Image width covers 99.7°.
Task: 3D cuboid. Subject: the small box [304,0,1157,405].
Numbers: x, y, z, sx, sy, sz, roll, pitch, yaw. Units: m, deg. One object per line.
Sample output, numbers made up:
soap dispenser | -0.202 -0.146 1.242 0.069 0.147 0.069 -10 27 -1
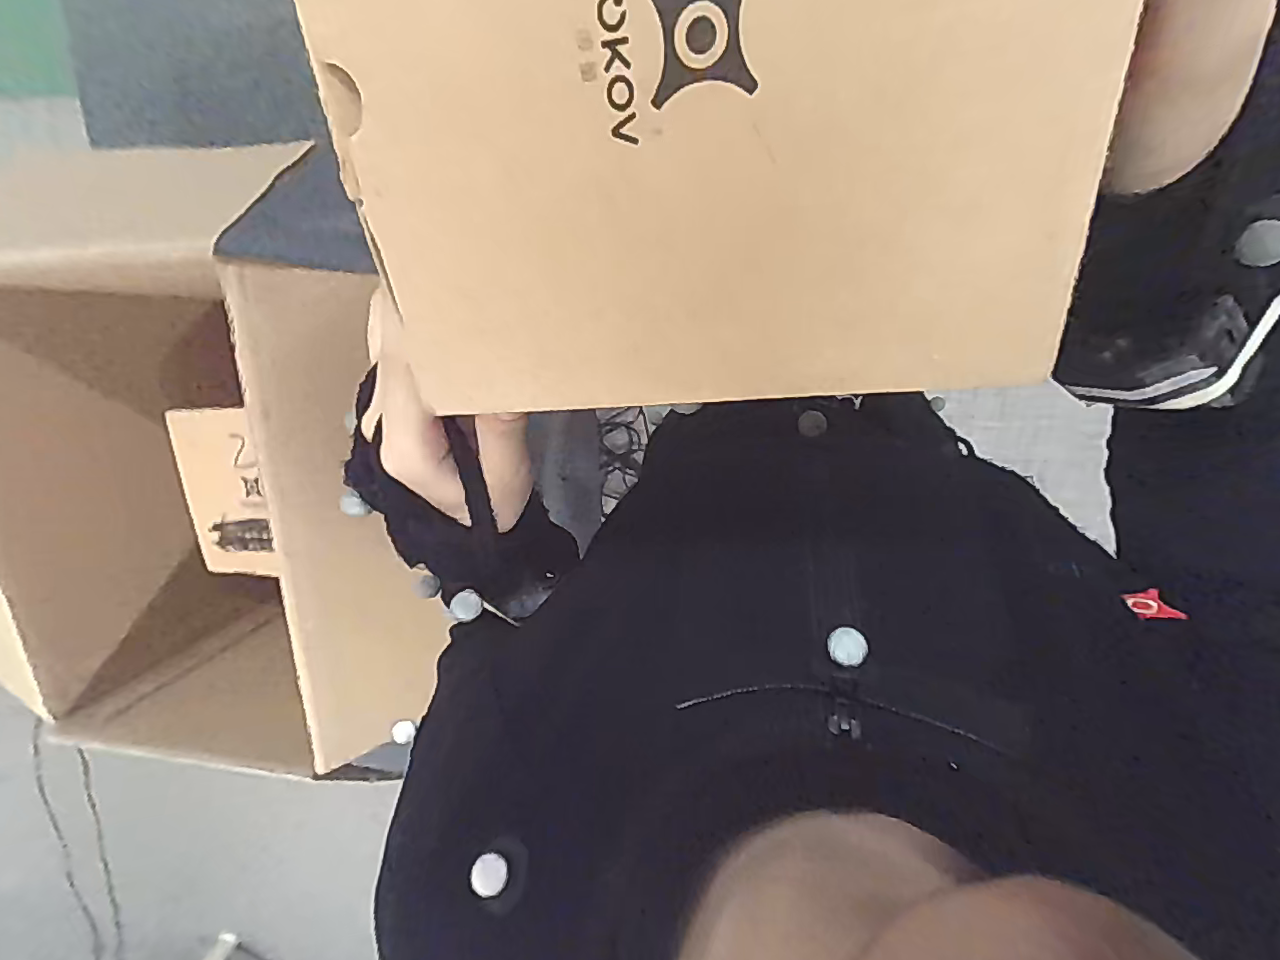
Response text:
small box | 0.024 -0.134 0.181 0.179 0.176 0.168 -1 119 12
